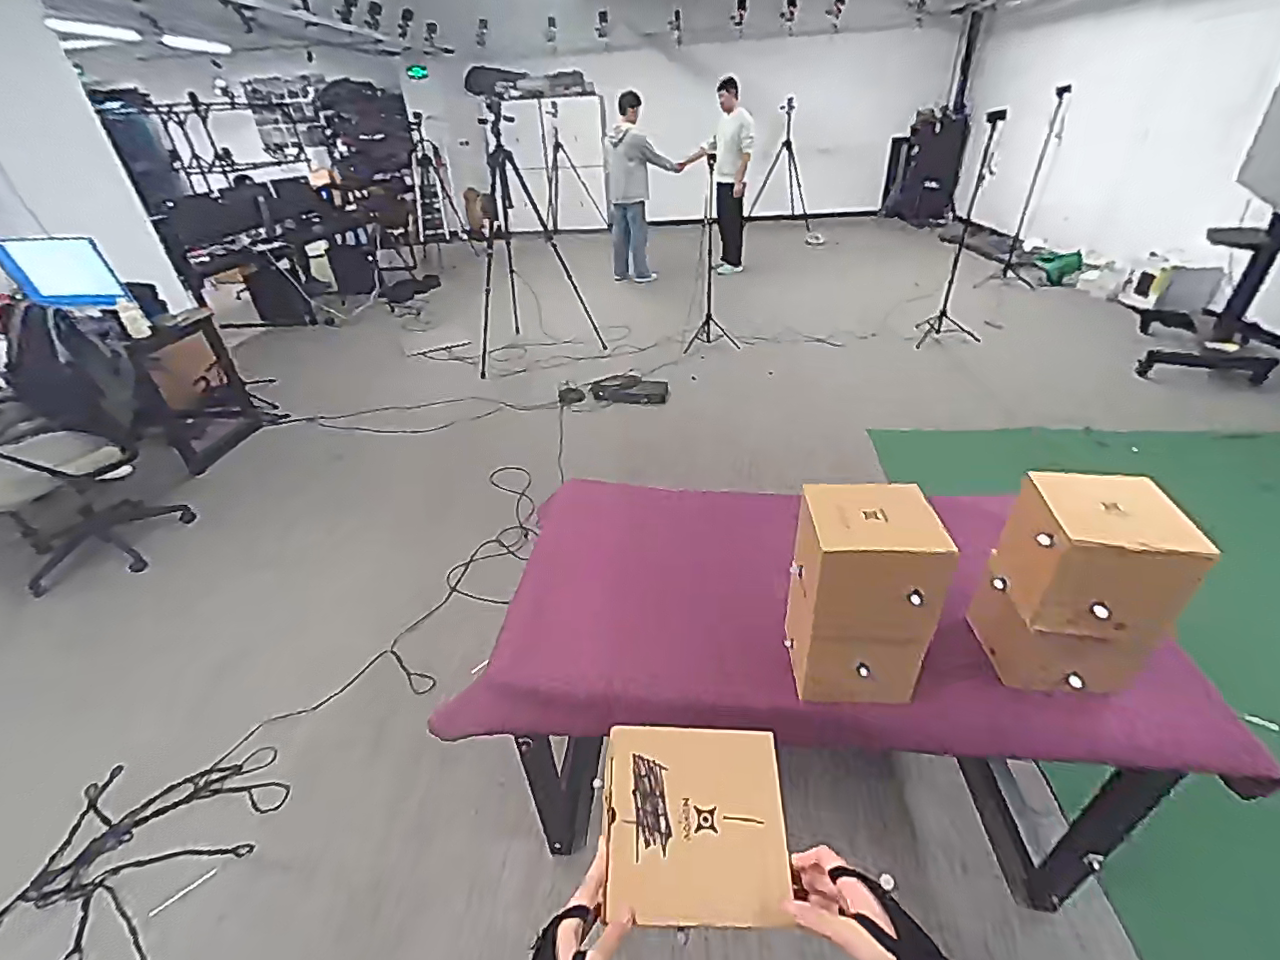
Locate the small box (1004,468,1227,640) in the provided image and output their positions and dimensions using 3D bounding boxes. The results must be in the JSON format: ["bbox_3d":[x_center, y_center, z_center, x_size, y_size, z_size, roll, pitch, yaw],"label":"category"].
[{"bbox_3d":[0.666,0.102,0.791,0.168,0.176,0.179,4,34,14],"label":"small box"}]

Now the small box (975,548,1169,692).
[{"bbox_3d":[0.693,0.230,0.893,0.179,0.176,0.168,-1,32,7],"label":"small box"}]

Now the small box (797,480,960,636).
[{"bbox_3d":[0.339,0.115,0.809,0.179,0.176,0.168,-1,31,8],"label":"small box"}]

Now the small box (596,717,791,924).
[{"bbox_3d":[0.044,0.369,0.583,0.179,0.176,0.168,4,50,-3],"label":"small box"}]
